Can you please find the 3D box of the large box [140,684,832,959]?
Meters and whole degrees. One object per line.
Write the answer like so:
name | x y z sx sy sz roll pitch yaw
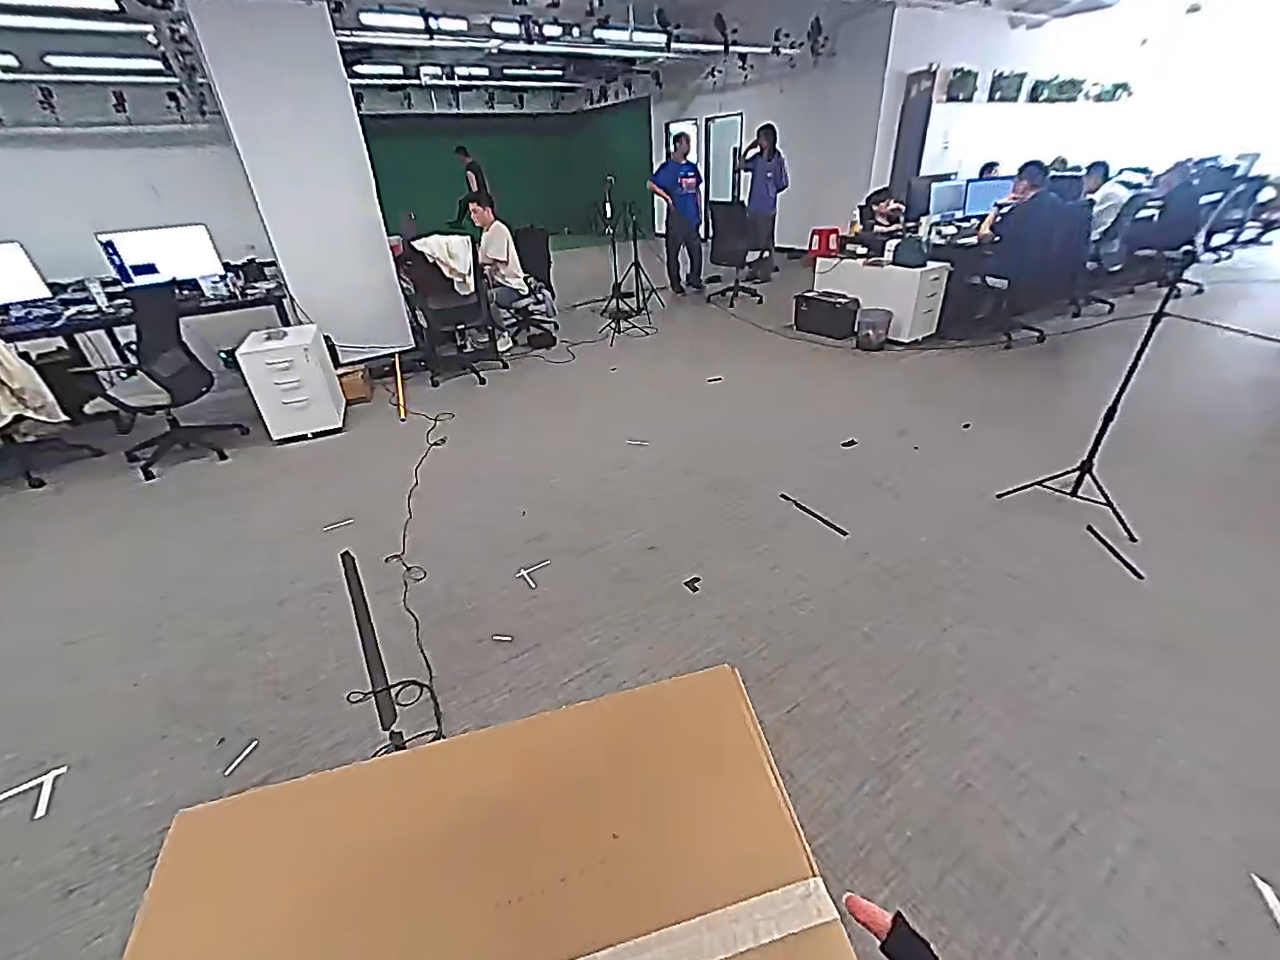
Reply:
large box | -0.077 0.410 0.394 0.408 0.320 0.320 -12 42 -8
